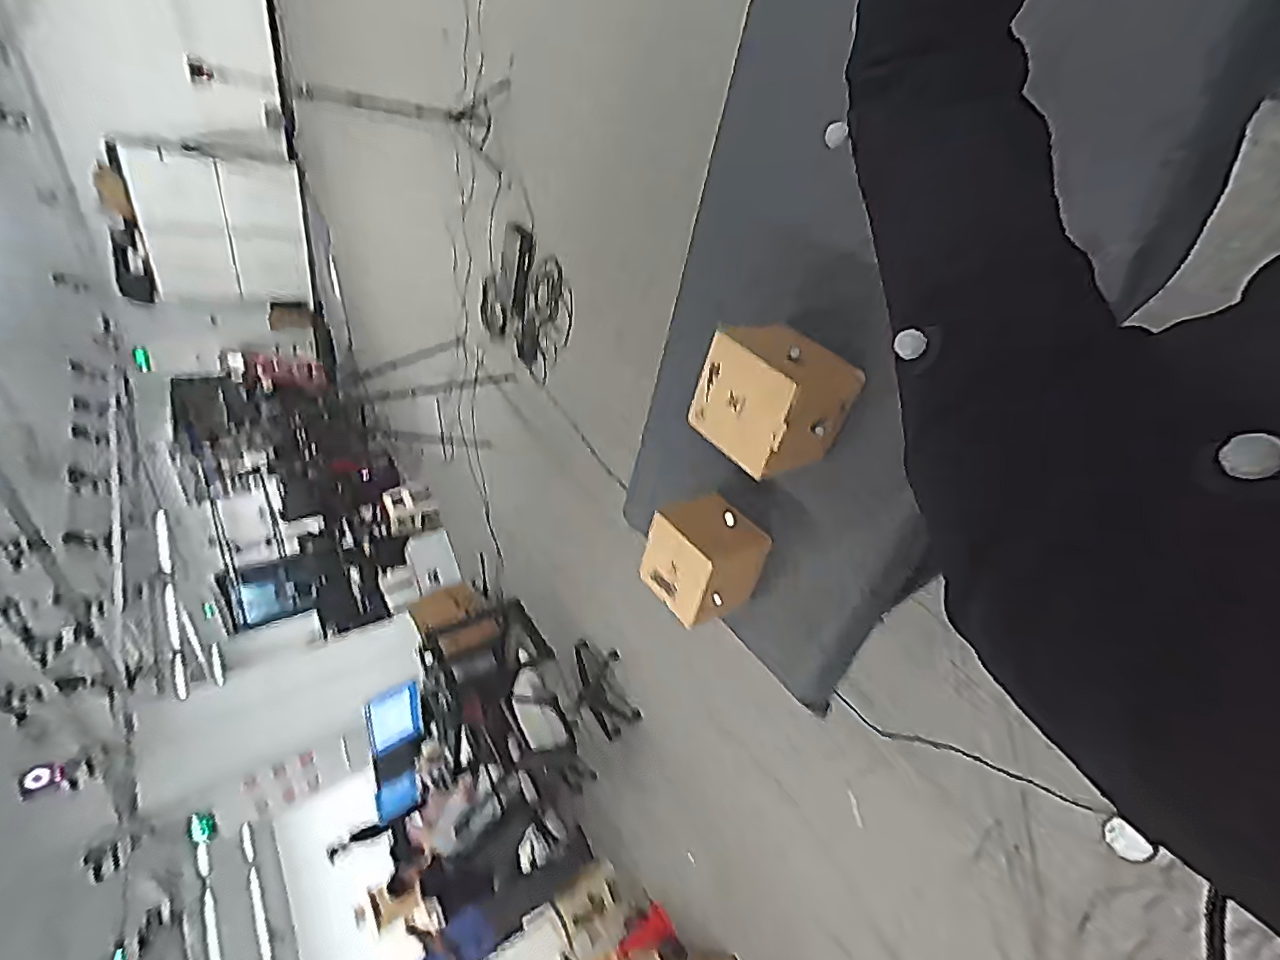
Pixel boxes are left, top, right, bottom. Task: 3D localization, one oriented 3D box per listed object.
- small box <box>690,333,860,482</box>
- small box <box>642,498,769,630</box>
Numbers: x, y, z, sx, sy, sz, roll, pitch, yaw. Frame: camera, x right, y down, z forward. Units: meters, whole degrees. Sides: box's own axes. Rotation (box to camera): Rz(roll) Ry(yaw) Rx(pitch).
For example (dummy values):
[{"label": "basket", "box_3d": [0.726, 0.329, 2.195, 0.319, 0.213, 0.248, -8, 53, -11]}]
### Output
[{"label": "small box", "box_3d": [0.216, -0.127, 0.872, 0.179, 0.176, 0.168, 45, 135, 34]}, {"label": "small box", "box_3d": [0.131, 0.162, 1.087, 0.168, 0.176, 0.179, 42, 132, 37]}]
